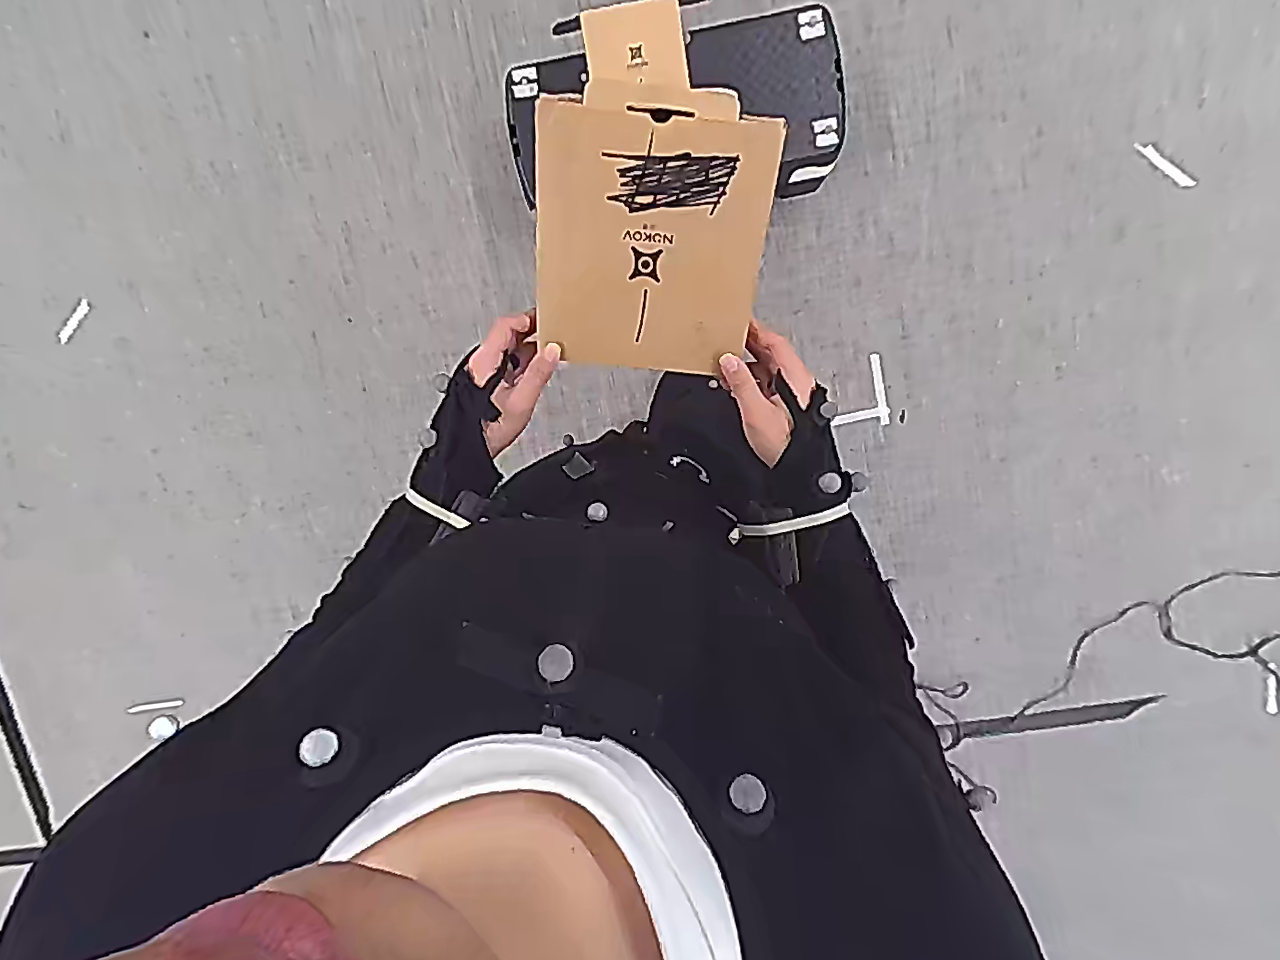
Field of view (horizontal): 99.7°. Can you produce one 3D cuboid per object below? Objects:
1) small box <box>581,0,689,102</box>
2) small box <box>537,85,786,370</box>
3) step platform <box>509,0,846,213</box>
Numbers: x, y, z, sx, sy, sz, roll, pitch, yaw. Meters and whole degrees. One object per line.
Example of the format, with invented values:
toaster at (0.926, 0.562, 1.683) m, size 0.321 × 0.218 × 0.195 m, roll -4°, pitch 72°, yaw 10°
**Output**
small box at (-0.007, -0.710, 0.983) m, size 0.168 × 0.176 × 0.179 m, roll -8°, pitch 98°, yaw 3°
small box at (0.010, -0.210, 0.464) m, size 0.168 × 0.176 × 0.179 m, roll 6°, pitch 119°, yaw -1°
step platform at (0.075, -0.764, 1.150) m, size 0.684 × 0.204 × 0.286 m, roll -10°, pitch 97°, yaw 3°
